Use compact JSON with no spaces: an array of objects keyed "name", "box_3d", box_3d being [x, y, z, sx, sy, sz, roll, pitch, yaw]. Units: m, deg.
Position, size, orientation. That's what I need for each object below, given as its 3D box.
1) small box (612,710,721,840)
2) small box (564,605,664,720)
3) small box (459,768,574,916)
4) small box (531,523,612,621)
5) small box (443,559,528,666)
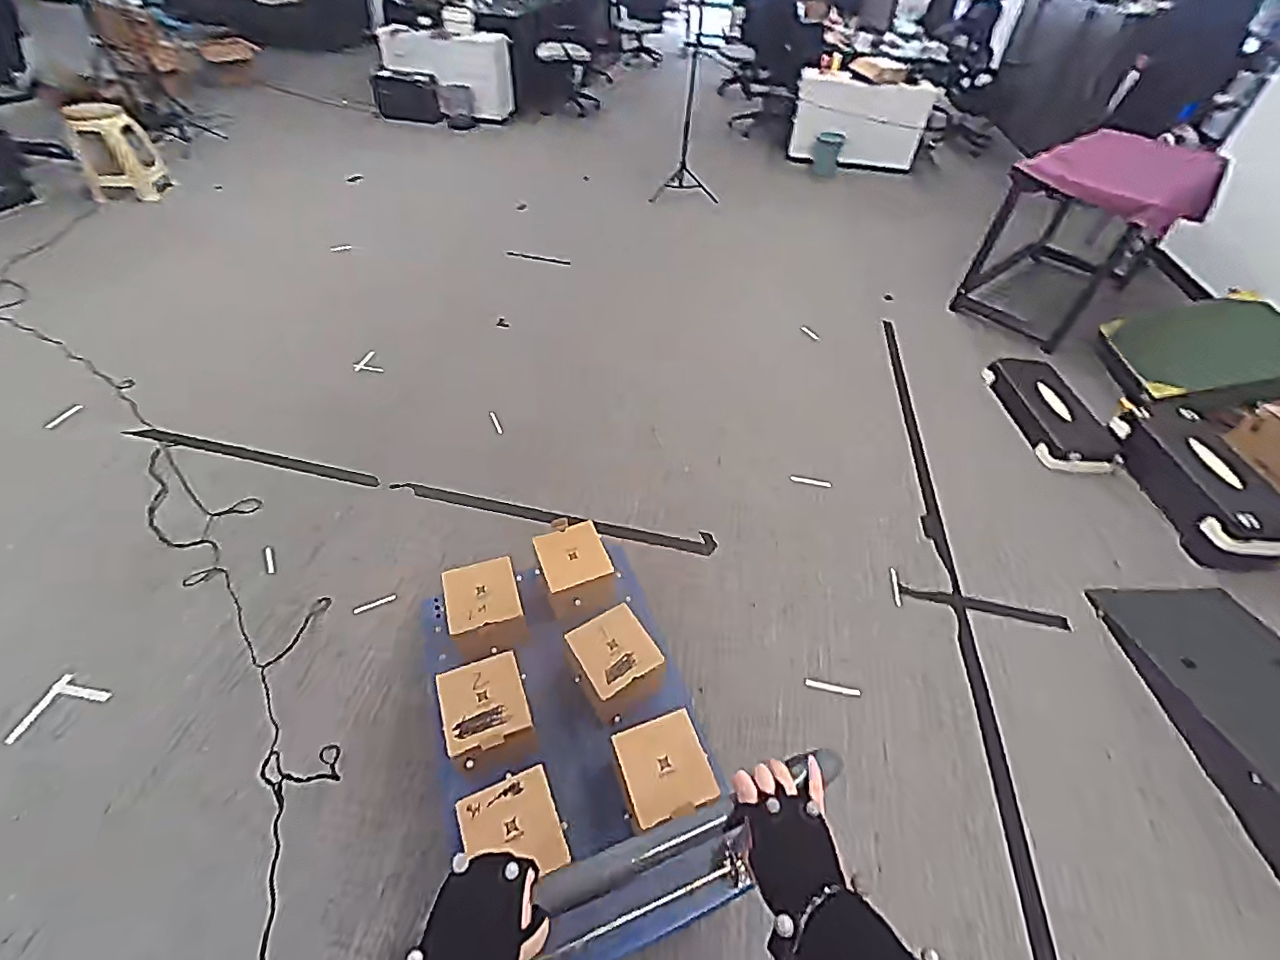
[{"name":"small box","box_3d":[0.047,0.610,1.109,0.168,0.176,0.179,-13,49,-17]},{"name":"small box","box_3d":[-0.061,0.433,1.263,0.168,0.176,0.179,-24,53,-24]},{"name":"small box","box_3d":[-0.227,0.683,1.018,0.168,0.176,0.179,-17,51,-20]},{"name":"small box","box_3d":[-0.177,0.248,1.426,0.168,0.176,0.179,-17,51,-19]},{"name":"small box","box_3d":[-0.379,0.328,1.335,0.168,0.176,0.179,-13,50,-15]}]
